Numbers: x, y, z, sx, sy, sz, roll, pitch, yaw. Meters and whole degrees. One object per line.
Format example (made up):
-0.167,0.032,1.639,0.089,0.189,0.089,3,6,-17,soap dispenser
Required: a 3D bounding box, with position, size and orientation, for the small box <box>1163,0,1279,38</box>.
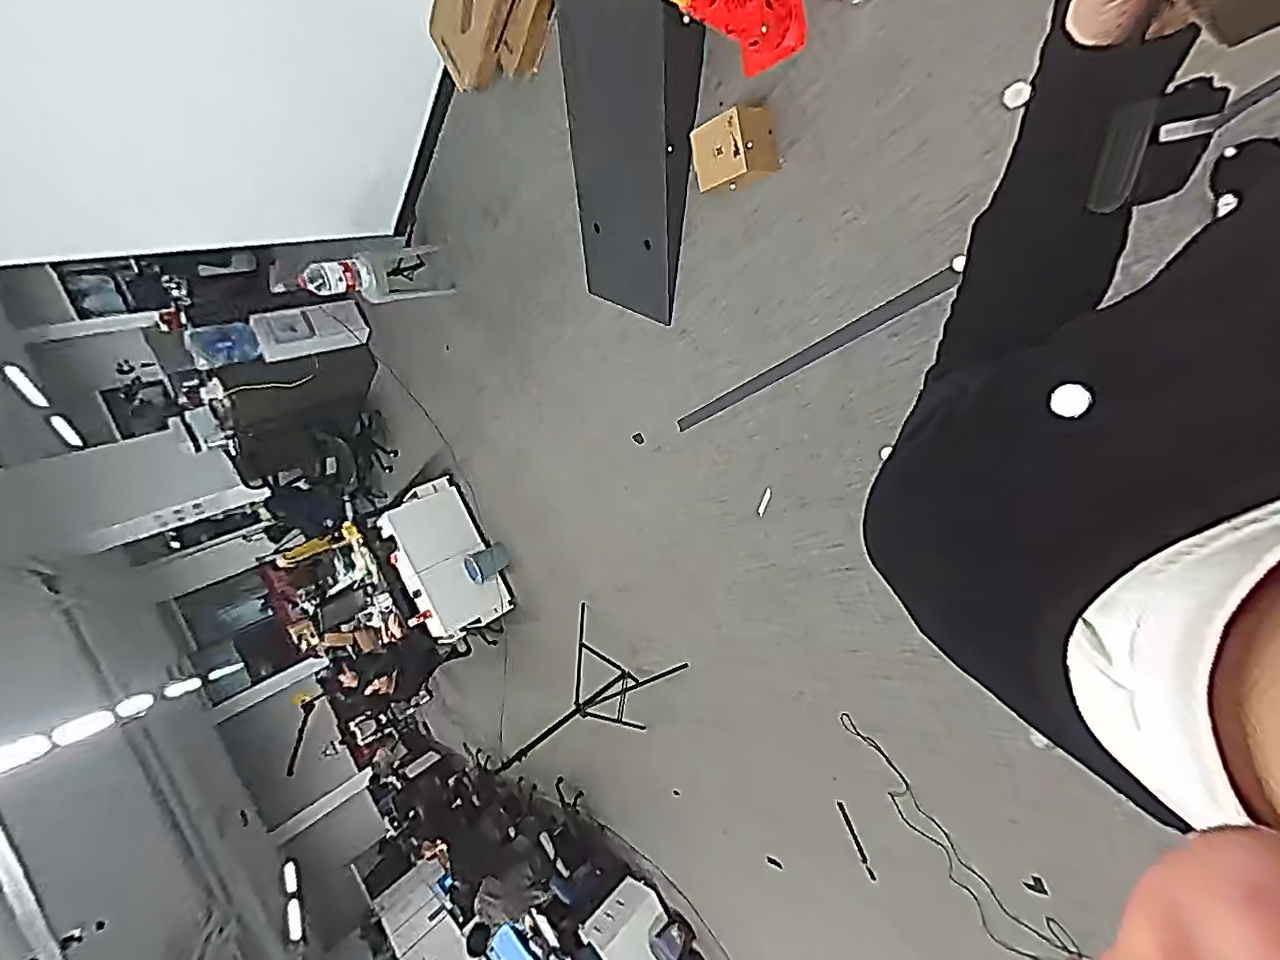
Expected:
0.269,-0.274,0.152,0.179,0.176,0.168,-4,107,53,small box
